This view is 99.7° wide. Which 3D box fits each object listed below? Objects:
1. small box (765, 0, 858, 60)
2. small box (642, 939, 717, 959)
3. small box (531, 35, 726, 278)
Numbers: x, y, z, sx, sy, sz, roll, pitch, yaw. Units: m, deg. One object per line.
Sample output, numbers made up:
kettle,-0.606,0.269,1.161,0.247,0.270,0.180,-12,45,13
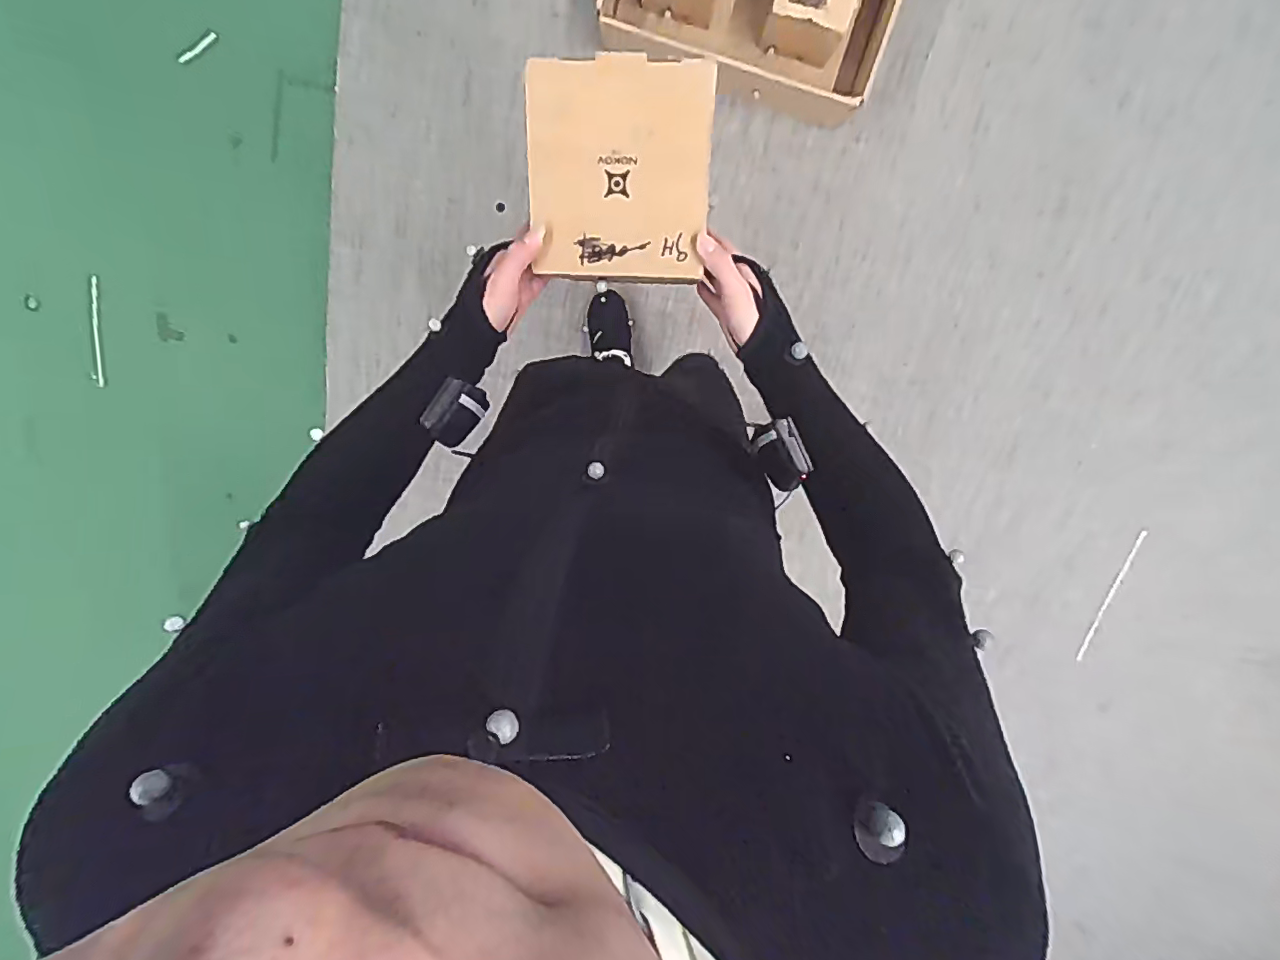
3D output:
small box,0.377,-1.048,1.155,0.168,0.176,0.179,15,106,-3
small box,0.081,1.134,1.149,0.168,0.176,0.179,7,107,0
small box,-0.010,-0.307,0.549,0.168,0.176,0.179,4,108,3
